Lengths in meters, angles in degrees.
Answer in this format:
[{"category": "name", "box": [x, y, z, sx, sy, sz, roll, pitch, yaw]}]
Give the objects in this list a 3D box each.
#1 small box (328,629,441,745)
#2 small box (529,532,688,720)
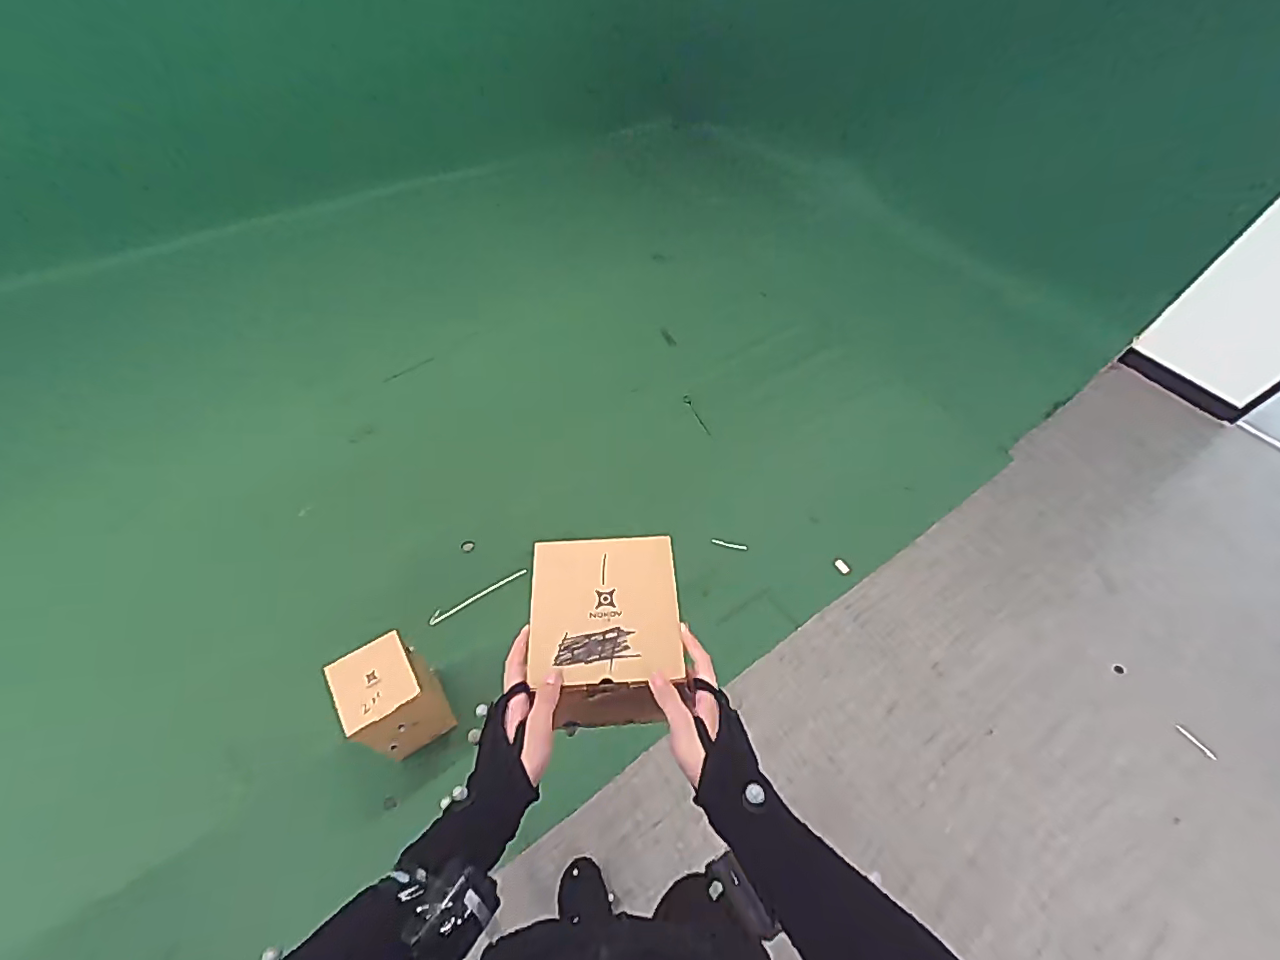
[{"category": "small box", "box": [-0.592, 0.487, 1.266, 0.168, 0.176, 0.179, -28, 61, -19]}, {"category": "small box", "box": [-0.035, 0.183, 0.659, 0.168, 0.176, 0.179, -3, 52, -3]}]
